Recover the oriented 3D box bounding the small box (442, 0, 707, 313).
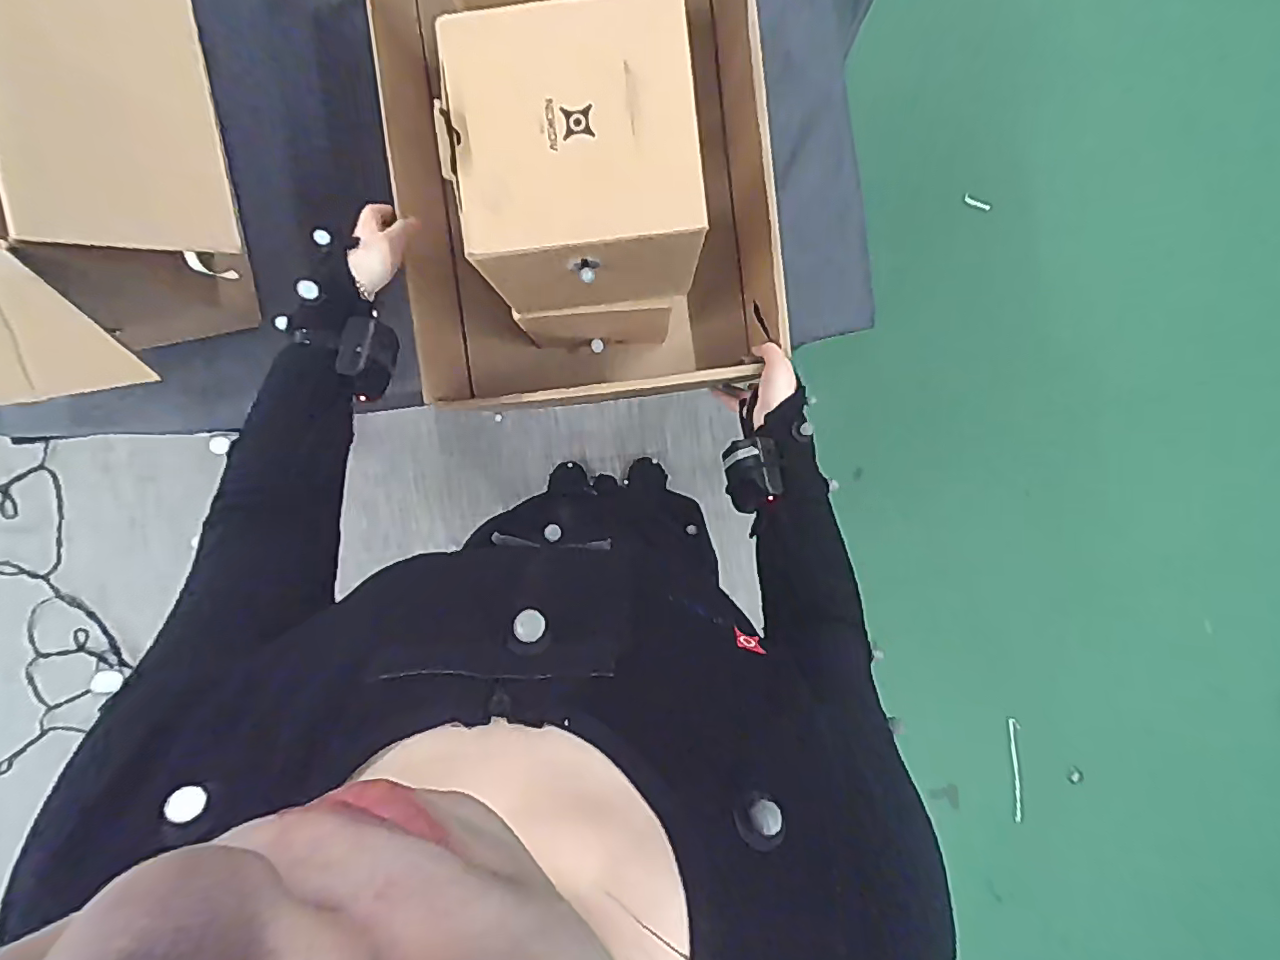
[{"bbox_3d":[-0.045,-0.250,0.462,0.179,0.176,0.168,-7,94,0],"label":"small box"}]
